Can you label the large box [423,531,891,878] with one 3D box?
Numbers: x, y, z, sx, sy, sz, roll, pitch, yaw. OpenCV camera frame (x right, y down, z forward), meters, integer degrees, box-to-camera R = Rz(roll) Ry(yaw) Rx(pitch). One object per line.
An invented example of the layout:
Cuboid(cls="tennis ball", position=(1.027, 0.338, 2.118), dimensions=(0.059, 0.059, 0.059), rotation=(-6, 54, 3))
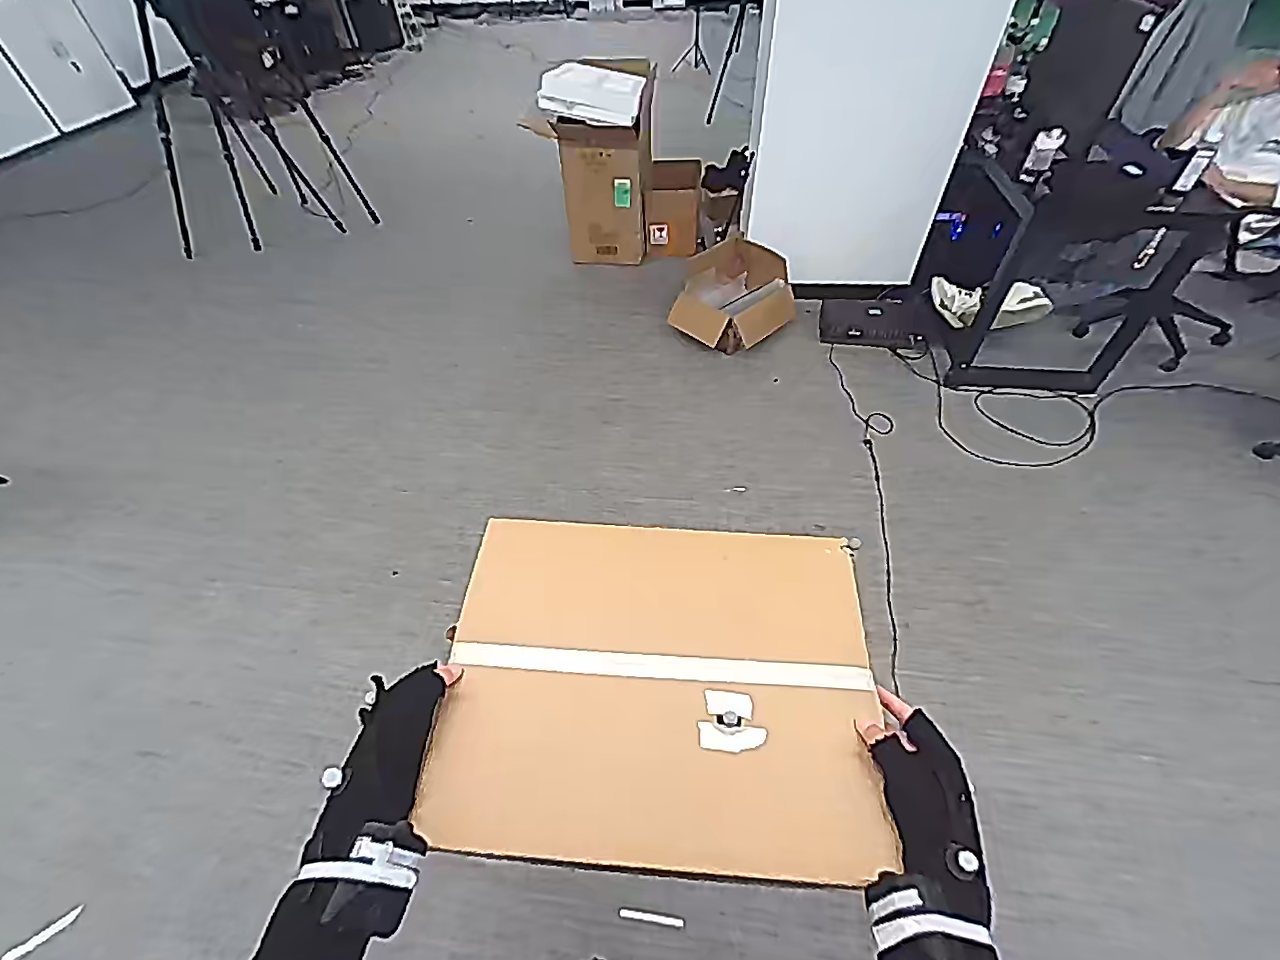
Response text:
Cuboid(cls="large box", position=(0.018, 0.280, 0.658), dimensions=(0.408, 0.320, 0.320), rotation=(3, 54, 2))
